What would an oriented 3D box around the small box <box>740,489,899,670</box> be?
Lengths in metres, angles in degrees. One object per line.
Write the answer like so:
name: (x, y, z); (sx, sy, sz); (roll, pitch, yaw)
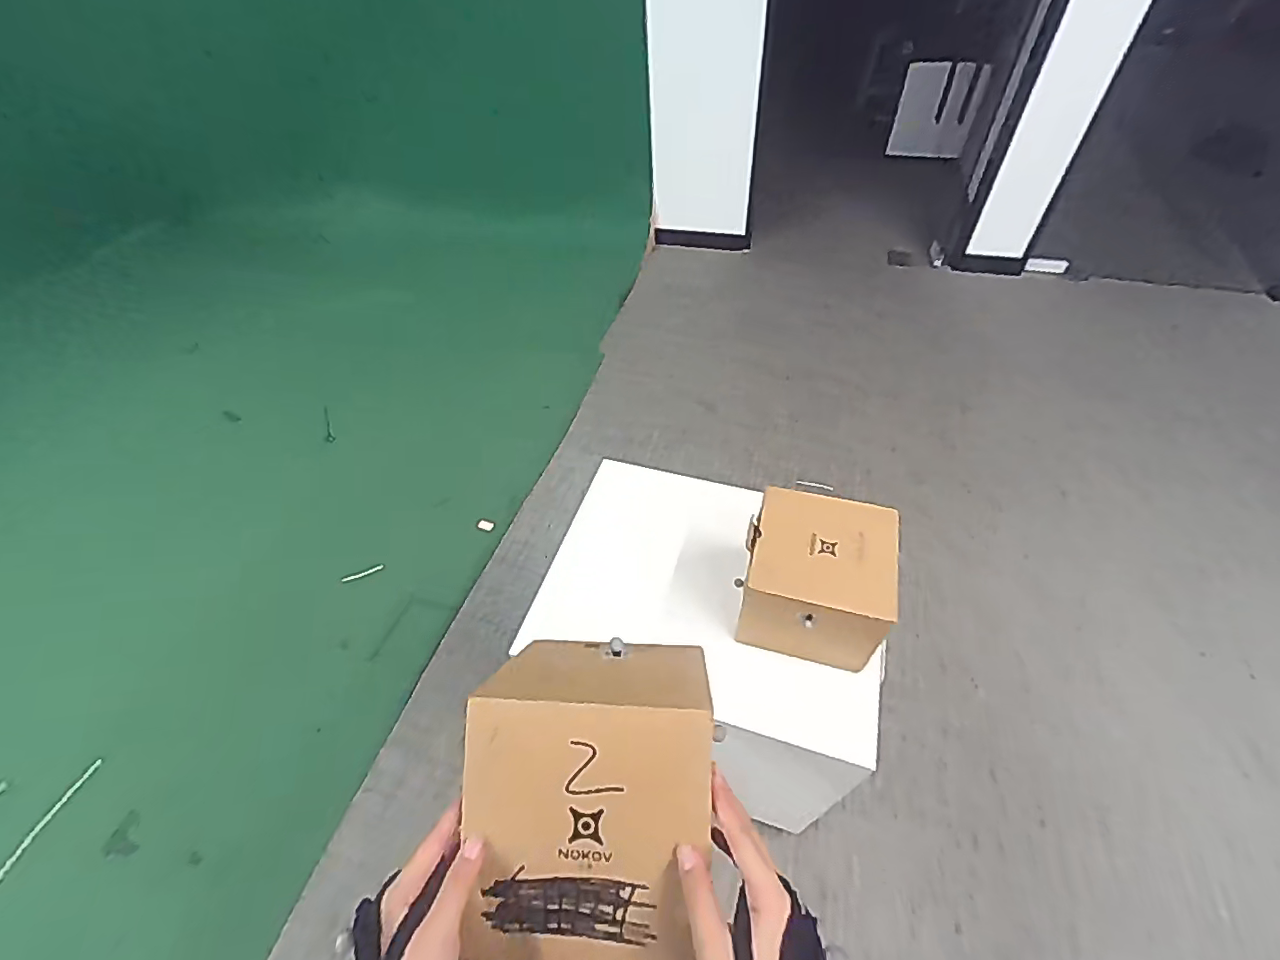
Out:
small box: (0.238, 0.138, 0.740); (0.179, 0.176, 0.168); (11, 53, 13)
